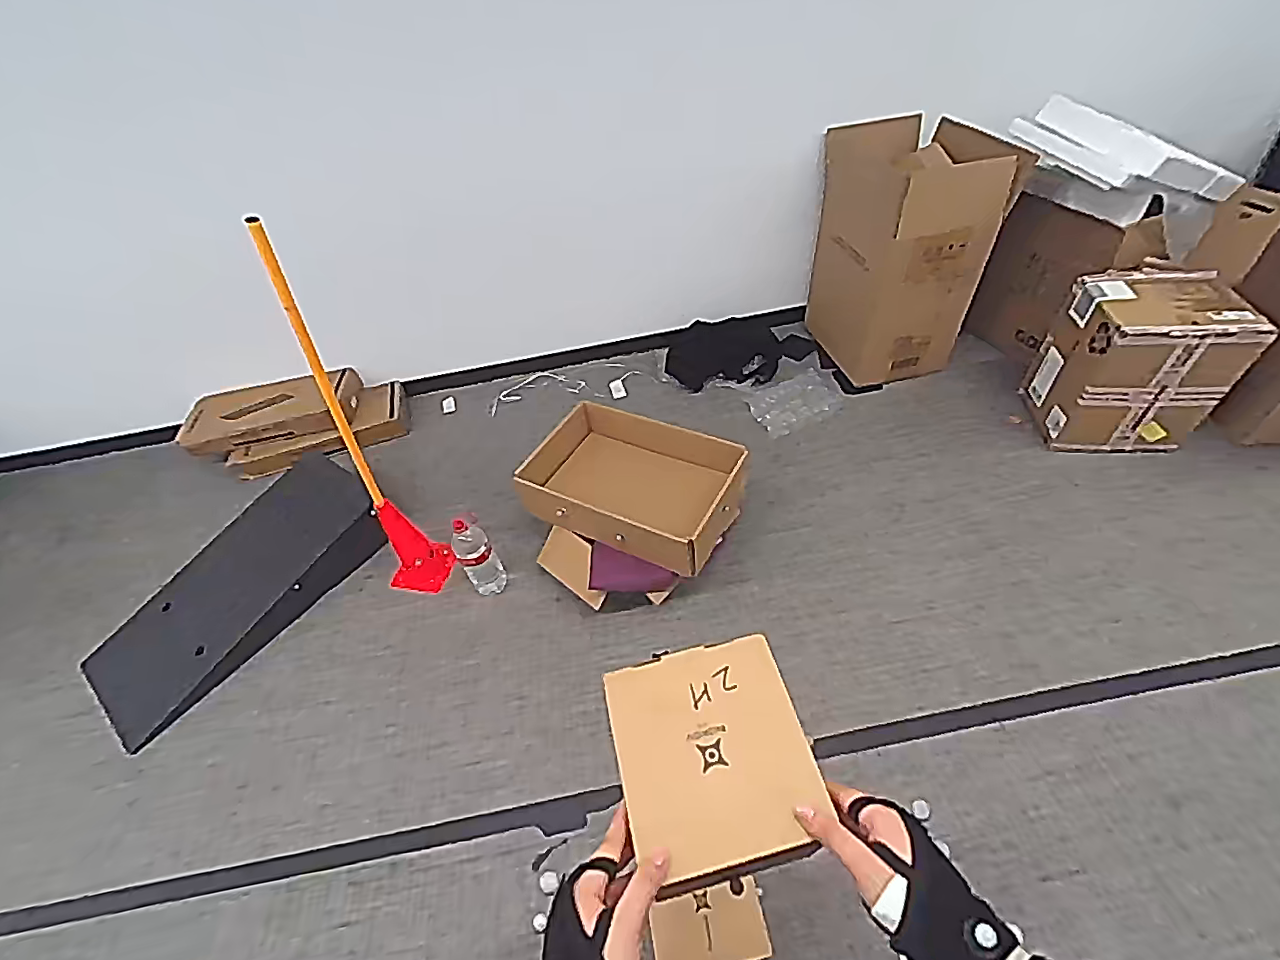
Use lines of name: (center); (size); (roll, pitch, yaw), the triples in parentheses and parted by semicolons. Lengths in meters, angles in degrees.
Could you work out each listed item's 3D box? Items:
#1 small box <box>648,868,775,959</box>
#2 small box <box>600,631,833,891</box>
small box: (0.102, 0.671, 0.862); (0.168, 0.176, 0.179); (-12, 46, -2)
small box: (0.066, 0.282, 0.536); (0.168, 0.176, 0.179); (-14, 49, -5)
